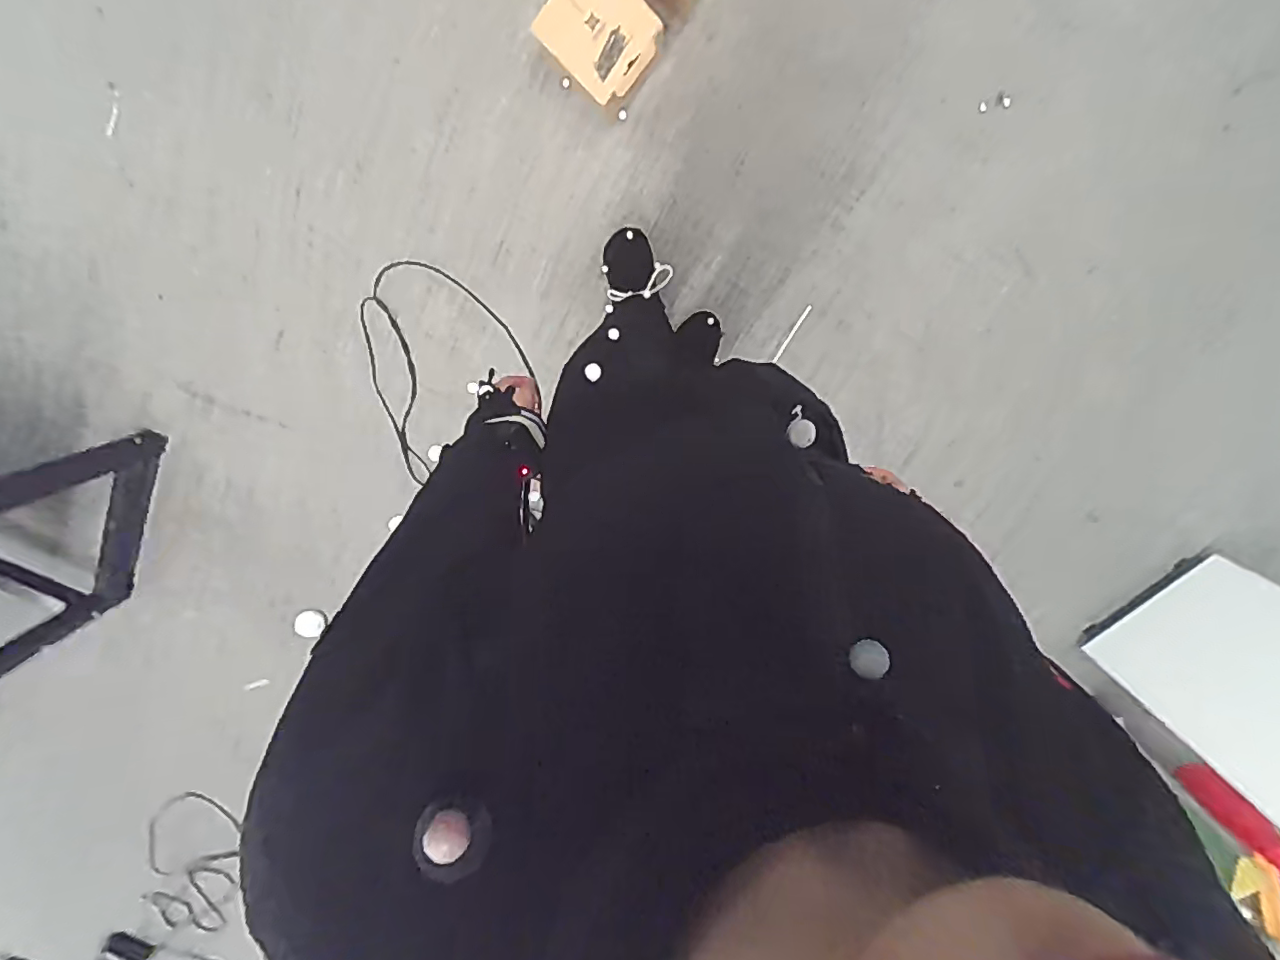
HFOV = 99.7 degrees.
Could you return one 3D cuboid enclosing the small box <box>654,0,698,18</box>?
[{"bbox_3d":[0.056,-0.976,0.950,0.179,0.176,0.168,32,109,-10],"label":"small box"}]
